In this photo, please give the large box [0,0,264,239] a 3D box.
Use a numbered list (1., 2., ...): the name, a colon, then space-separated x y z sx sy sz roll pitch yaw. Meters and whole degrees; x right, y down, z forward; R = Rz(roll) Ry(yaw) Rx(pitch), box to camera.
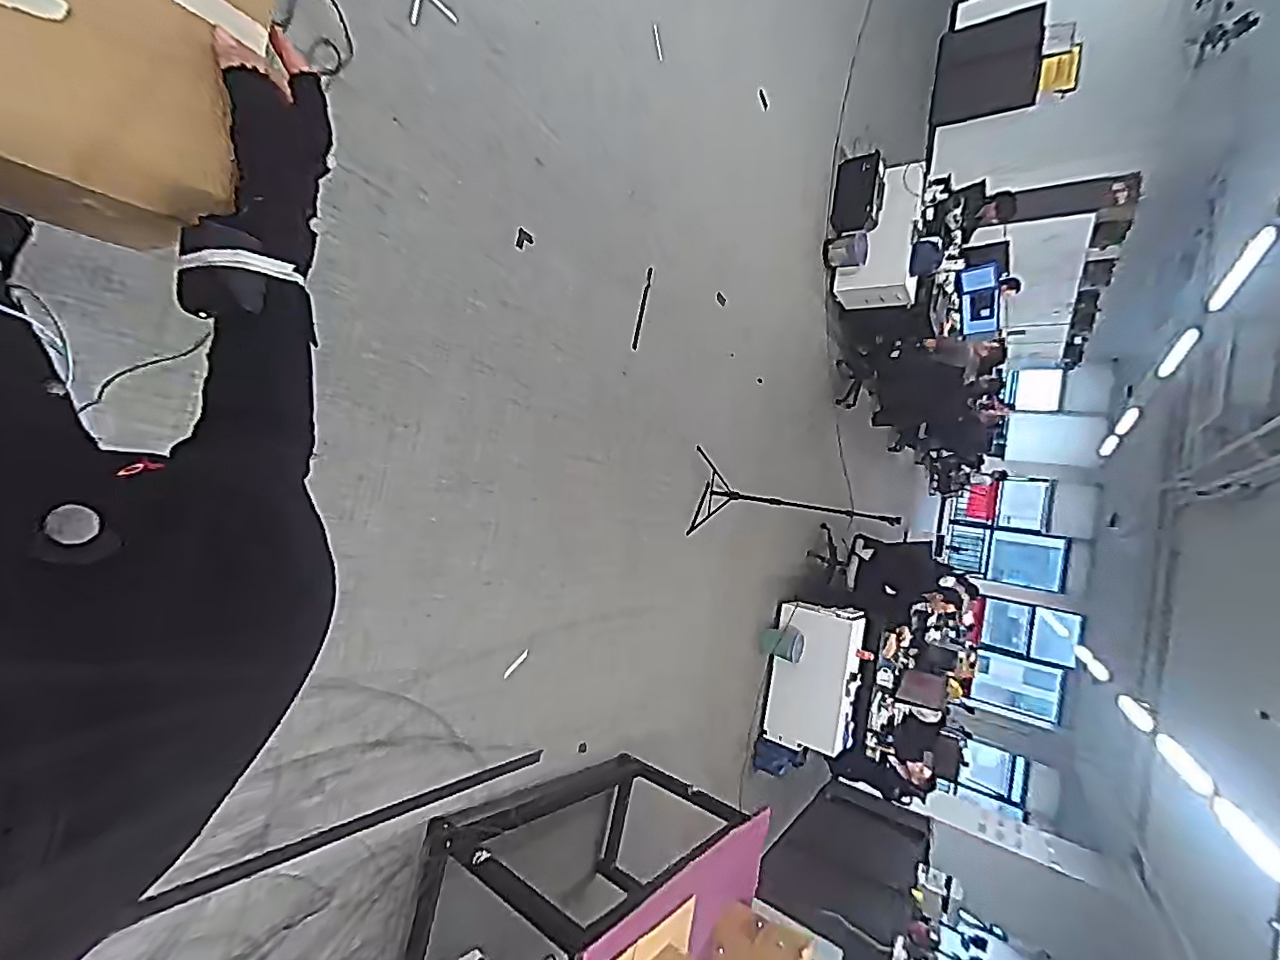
1. large box: -0.548 -0.405 0.369 0.408 0.320 0.320 8 97 -54
